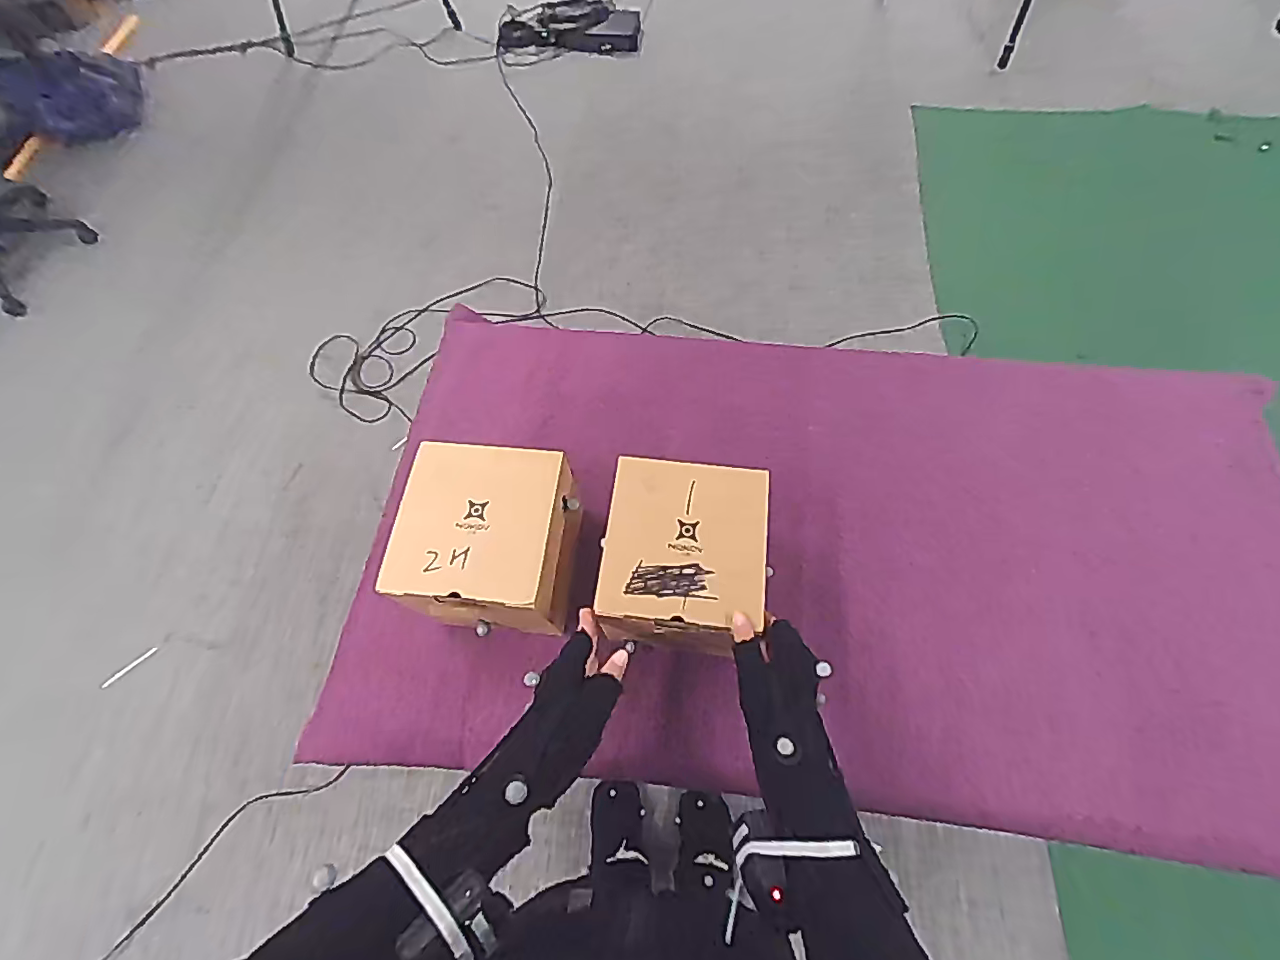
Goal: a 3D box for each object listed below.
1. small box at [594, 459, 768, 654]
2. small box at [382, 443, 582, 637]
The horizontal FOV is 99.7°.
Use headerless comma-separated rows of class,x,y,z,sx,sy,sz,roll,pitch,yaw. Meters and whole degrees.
small box,0.050,0.096,0.629,0.168,0.176,0.179,6,64,5
small box,-0.169,0.077,0.647,0.168,0.176,0.179,5,65,5
